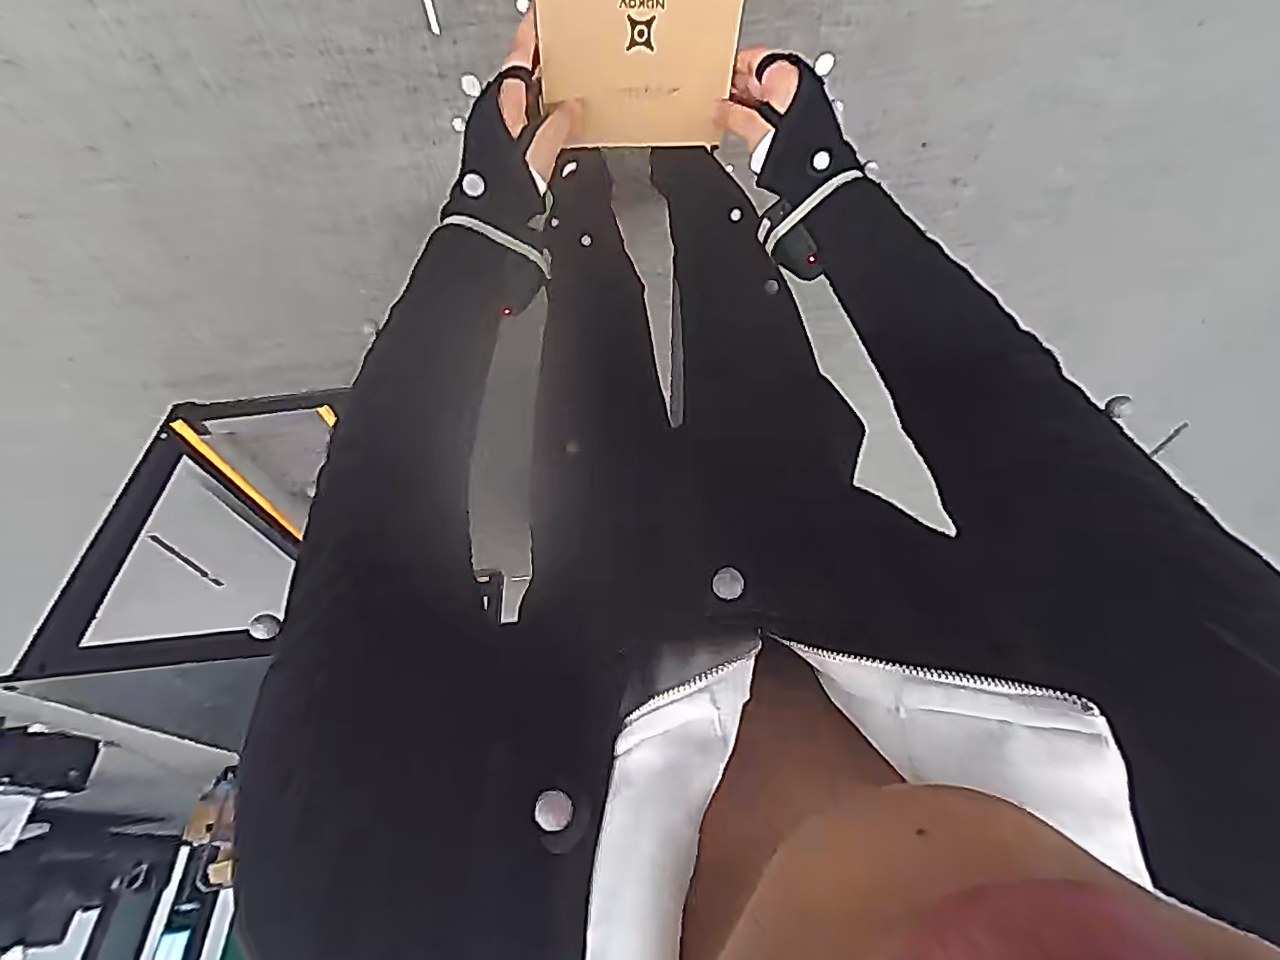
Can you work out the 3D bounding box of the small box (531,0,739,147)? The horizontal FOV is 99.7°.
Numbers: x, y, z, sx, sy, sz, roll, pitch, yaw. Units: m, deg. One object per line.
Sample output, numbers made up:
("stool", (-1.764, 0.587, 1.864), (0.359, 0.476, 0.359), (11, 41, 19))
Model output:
("small box", (-0.014, -0.435, 0.494), (0.168, 0.176, 0.179), (-6, 144, -8))
